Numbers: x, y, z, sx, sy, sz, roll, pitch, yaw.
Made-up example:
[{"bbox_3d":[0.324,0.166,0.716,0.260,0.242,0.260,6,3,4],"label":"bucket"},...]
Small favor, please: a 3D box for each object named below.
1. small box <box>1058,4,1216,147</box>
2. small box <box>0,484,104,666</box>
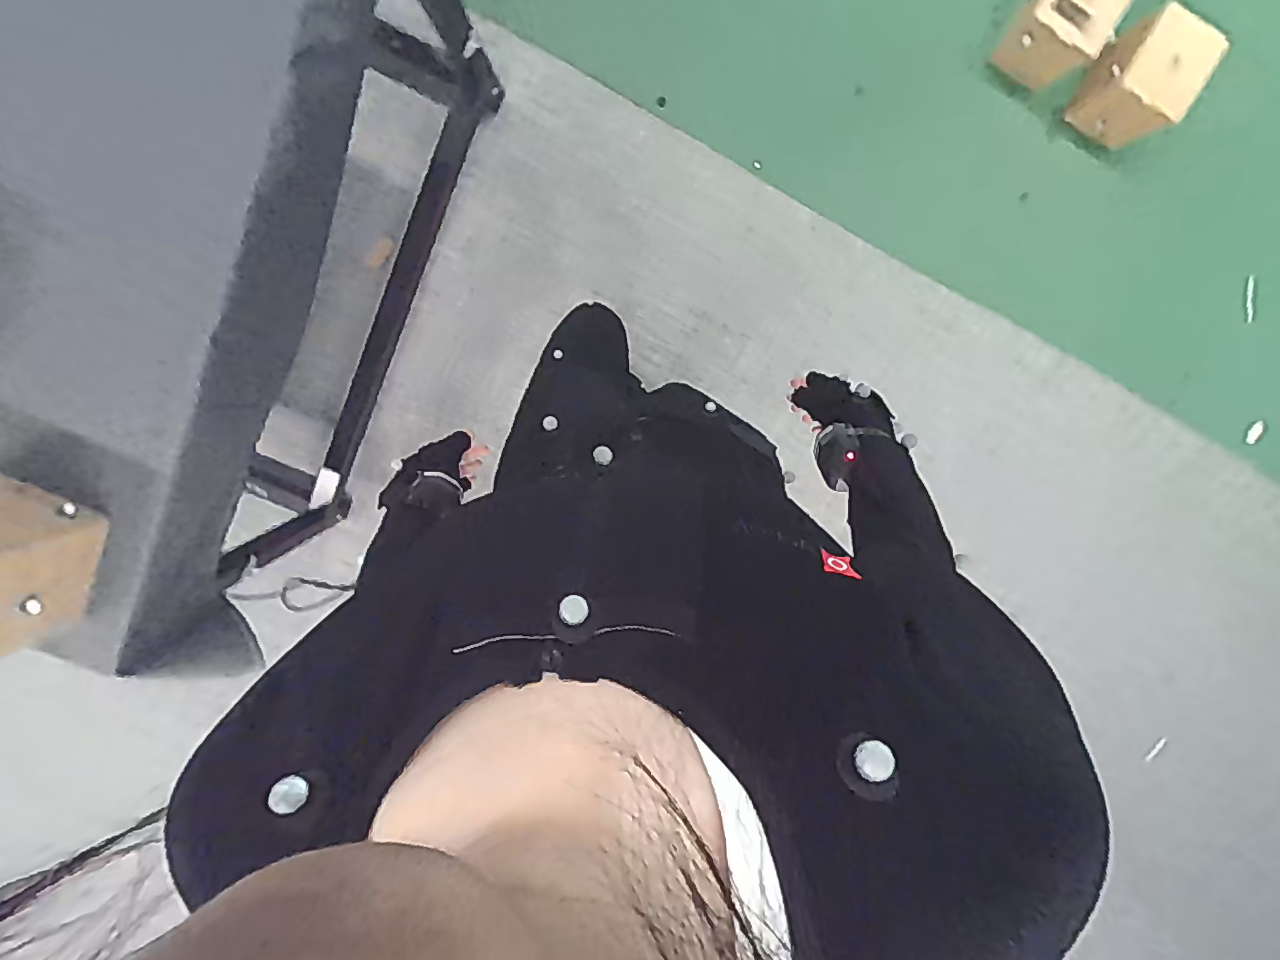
[{"bbox_3d":[1.132,-0.920,1.249,0.168,0.176,0.179,25,102,-8],"label":"small box"},{"bbox_3d":[-0.847,0.122,0.683,0.168,0.176,0.179,24,101,-7],"label":"small box"}]
